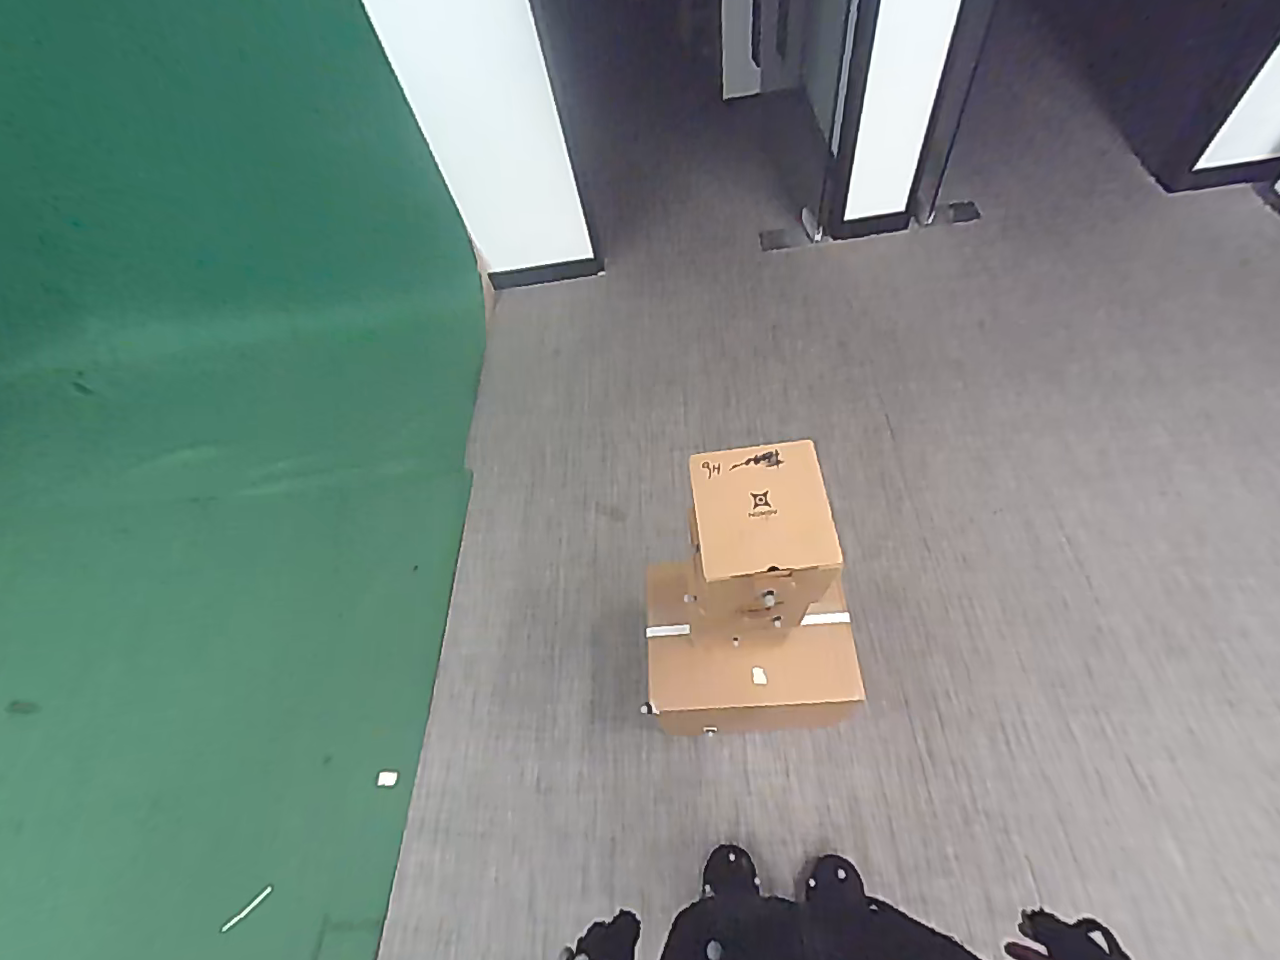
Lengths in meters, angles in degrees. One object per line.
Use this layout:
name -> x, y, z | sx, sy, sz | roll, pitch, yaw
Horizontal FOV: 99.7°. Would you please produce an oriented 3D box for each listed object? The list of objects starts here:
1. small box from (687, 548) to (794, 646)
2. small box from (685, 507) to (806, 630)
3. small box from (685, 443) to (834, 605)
small box -> 0.187, 0.220, 1.043 | 0.179, 0.176, 0.168 | -6, 64, 6
small box -> 0.169, 0.146, 0.900 | 0.168, 0.176, 0.179 | -8, 62, 5
small box -> 0.159, 0.072, 0.755 | 0.168, 0.176, 0.179 | -8, 64, 6
